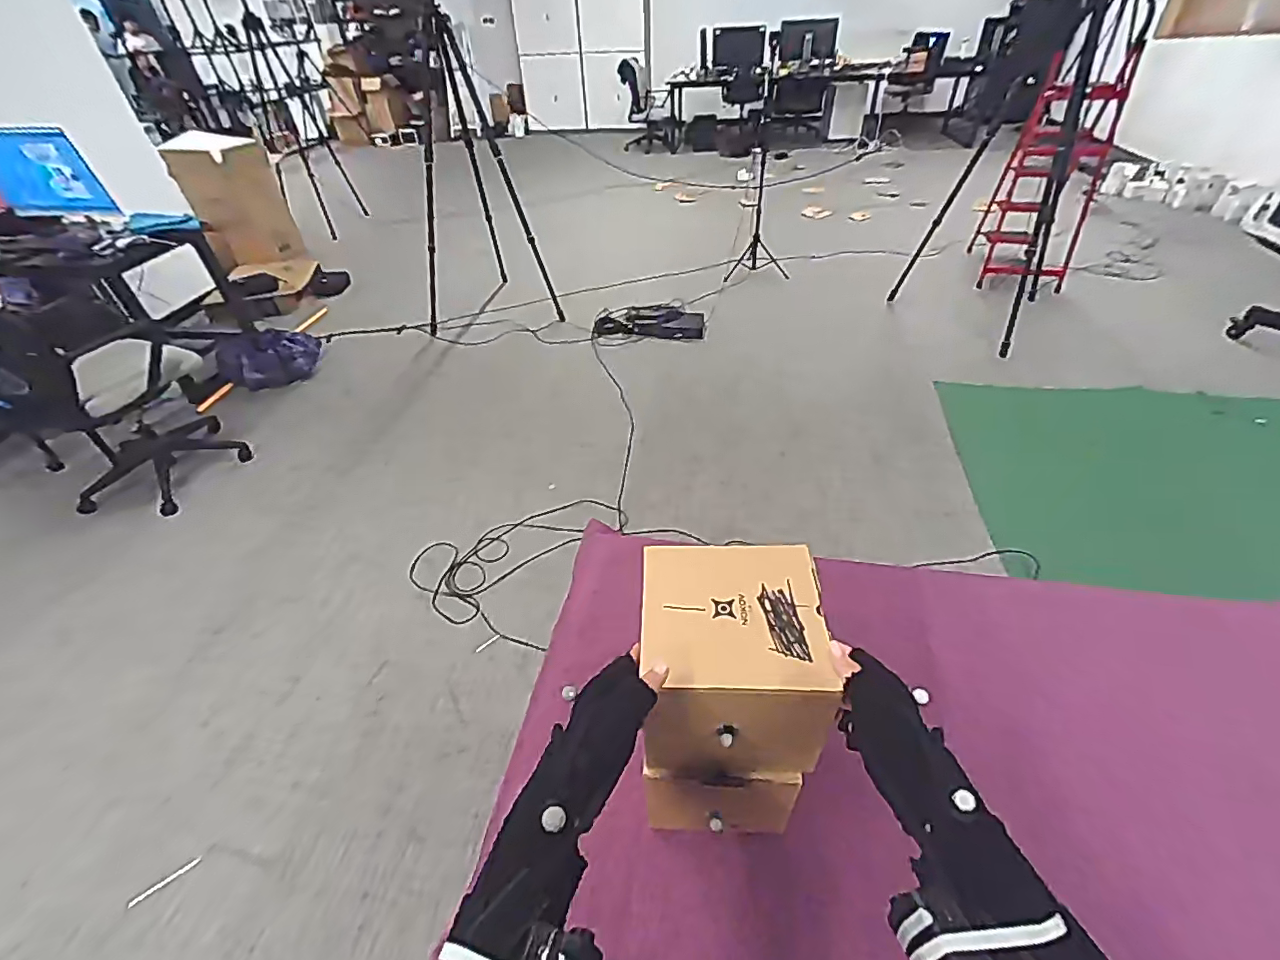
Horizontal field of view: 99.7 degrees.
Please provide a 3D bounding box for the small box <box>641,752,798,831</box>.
[{"bbox_3d":[0.091,0.308,0.674,0.168,0.176,0.179,-1,42,5],"label":"small box"}]

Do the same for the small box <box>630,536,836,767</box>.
[{"bbox_3d":[0.088,0.179,0.566,0.179,0.176,0.168,2,39,6],"label":"small box"}]
